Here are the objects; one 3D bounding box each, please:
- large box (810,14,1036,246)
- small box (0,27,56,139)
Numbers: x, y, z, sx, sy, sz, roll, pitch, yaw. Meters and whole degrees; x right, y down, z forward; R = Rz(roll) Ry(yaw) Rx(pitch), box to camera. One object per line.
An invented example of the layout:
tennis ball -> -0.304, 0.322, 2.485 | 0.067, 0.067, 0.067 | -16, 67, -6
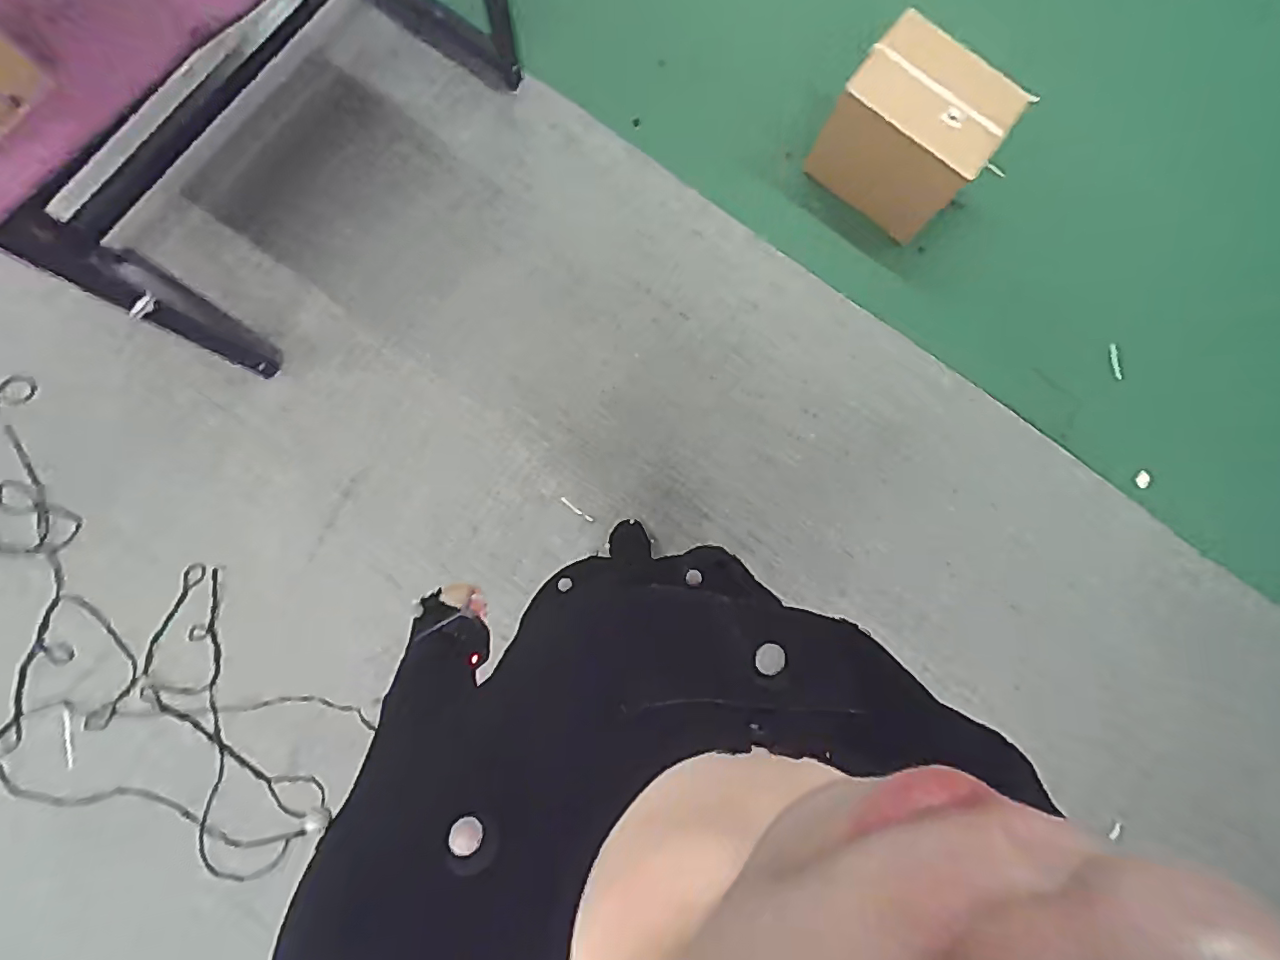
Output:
large box -> 0.771, -0.963, 1.531 | 0.408, 0.320, 0.320 | 38, 83, 1
small box -> -0.966, -0.585, 0.711 | 0.179, 0.176, 0.168 | 34, 83, 2
